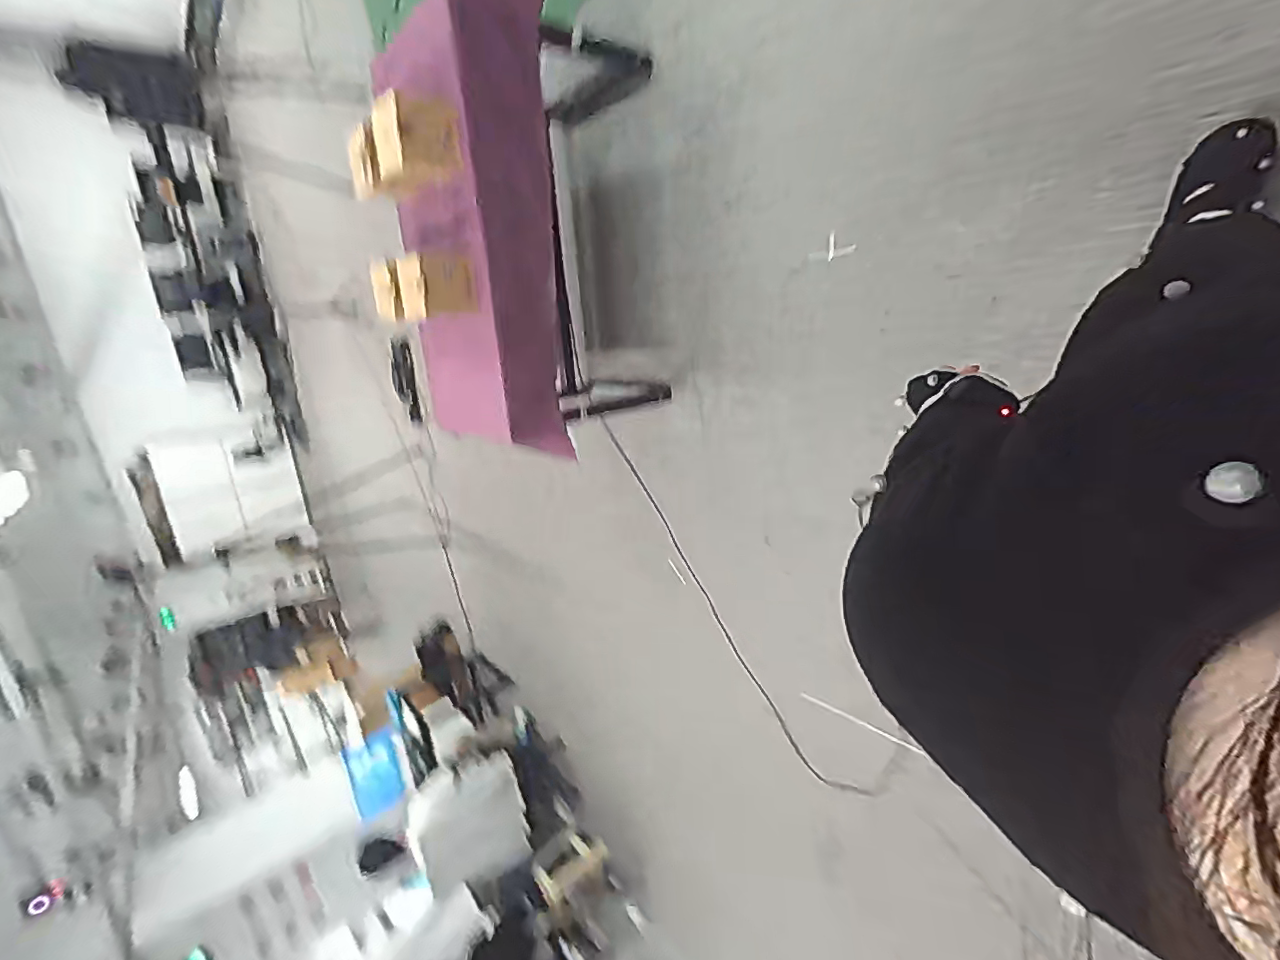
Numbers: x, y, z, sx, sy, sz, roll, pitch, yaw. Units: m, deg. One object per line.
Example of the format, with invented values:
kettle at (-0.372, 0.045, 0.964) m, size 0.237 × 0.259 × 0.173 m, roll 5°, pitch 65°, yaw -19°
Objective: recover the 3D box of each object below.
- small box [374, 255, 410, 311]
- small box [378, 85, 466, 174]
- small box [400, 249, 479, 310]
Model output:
small box at (-0.759, -0.656, 1.797) m, size 0.179 × 0.176 × 0.168 m, roll 23°, pitch 121°, yaw 43°
small box at (-0.599, -0.956, 1.492) m, size 0.179 × 0.176 × 0.168 m, roll 21°, pitch 119°, yaw 44°
small box at (-0.593, -0.600, 1.623) m, size 0.179 × 0.176 × 0.168 m, roll 19°, pitch 117°, yaw 46°
